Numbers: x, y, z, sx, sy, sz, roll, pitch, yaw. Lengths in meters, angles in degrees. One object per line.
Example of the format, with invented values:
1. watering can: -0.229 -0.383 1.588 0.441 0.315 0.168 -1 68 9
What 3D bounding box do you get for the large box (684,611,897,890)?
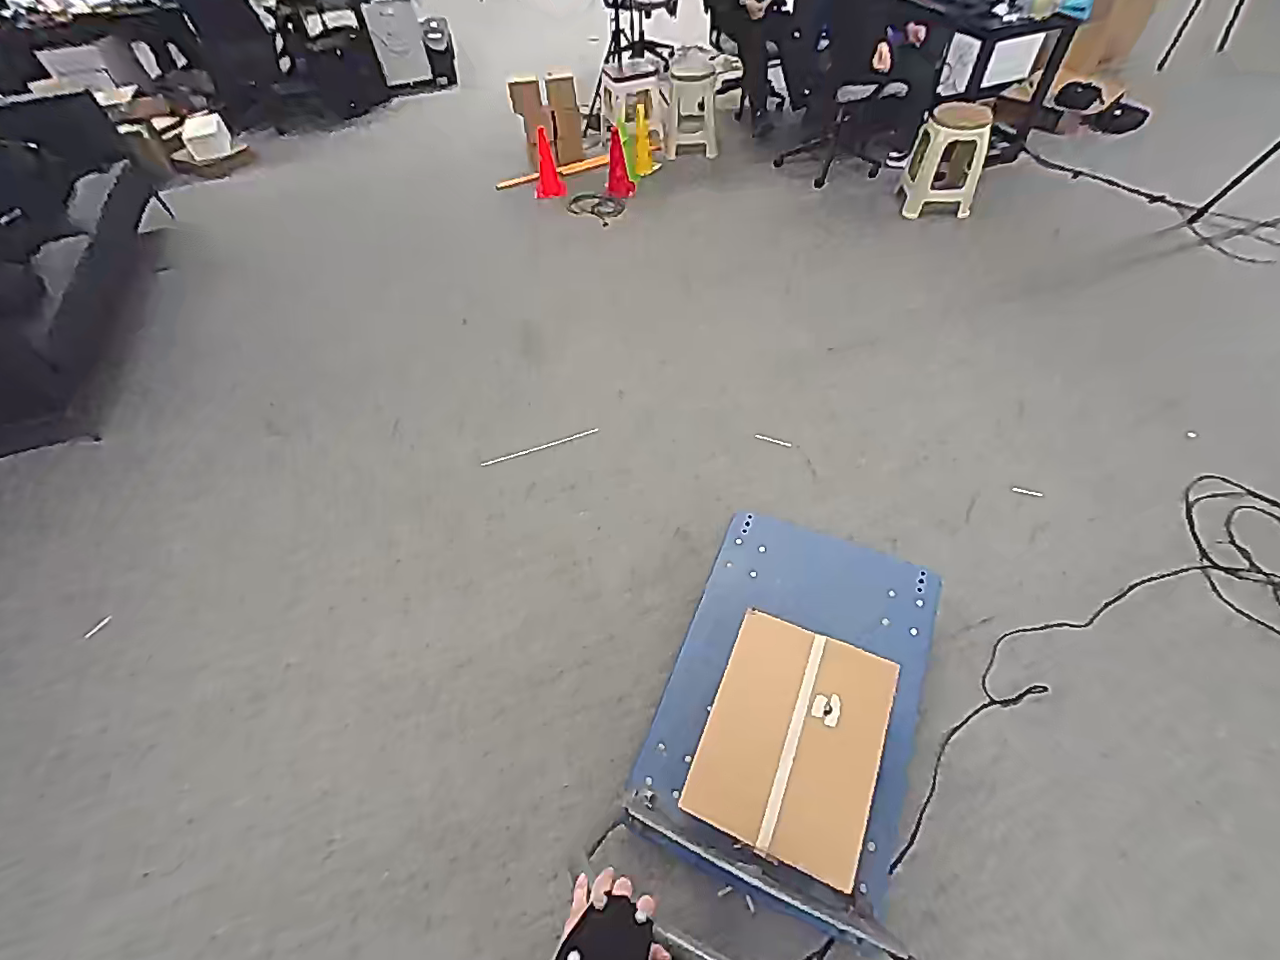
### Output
1. large box: 0.311 0.558 1.147 0.320 0.320 0.408 18 62 17
